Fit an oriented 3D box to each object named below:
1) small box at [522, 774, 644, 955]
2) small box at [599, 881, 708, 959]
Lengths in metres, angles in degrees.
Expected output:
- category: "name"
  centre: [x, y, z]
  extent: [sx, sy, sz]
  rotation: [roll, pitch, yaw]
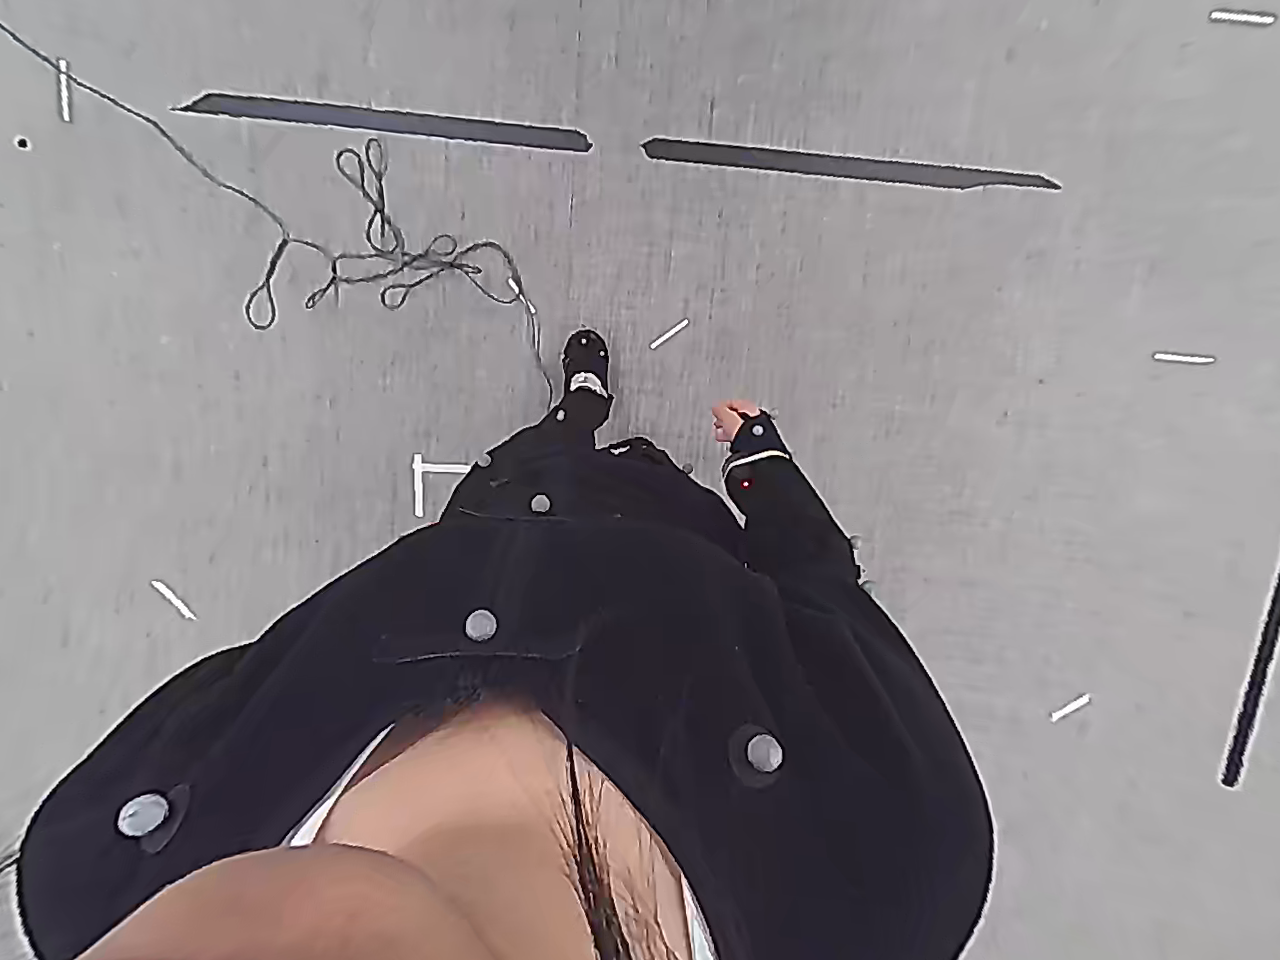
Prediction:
- category: "small box"
  centre: [-0.089, 0.624, 0.897]
  extent: [0.168, 0.176, 0.179]
  rotation: [9, 99, -1]
- category: "small box"
  centre: [0.016, 0.833, 0.929]
  extent: [0.168, 0.176, 0.179]
  rotation: [8, 99, -1]
